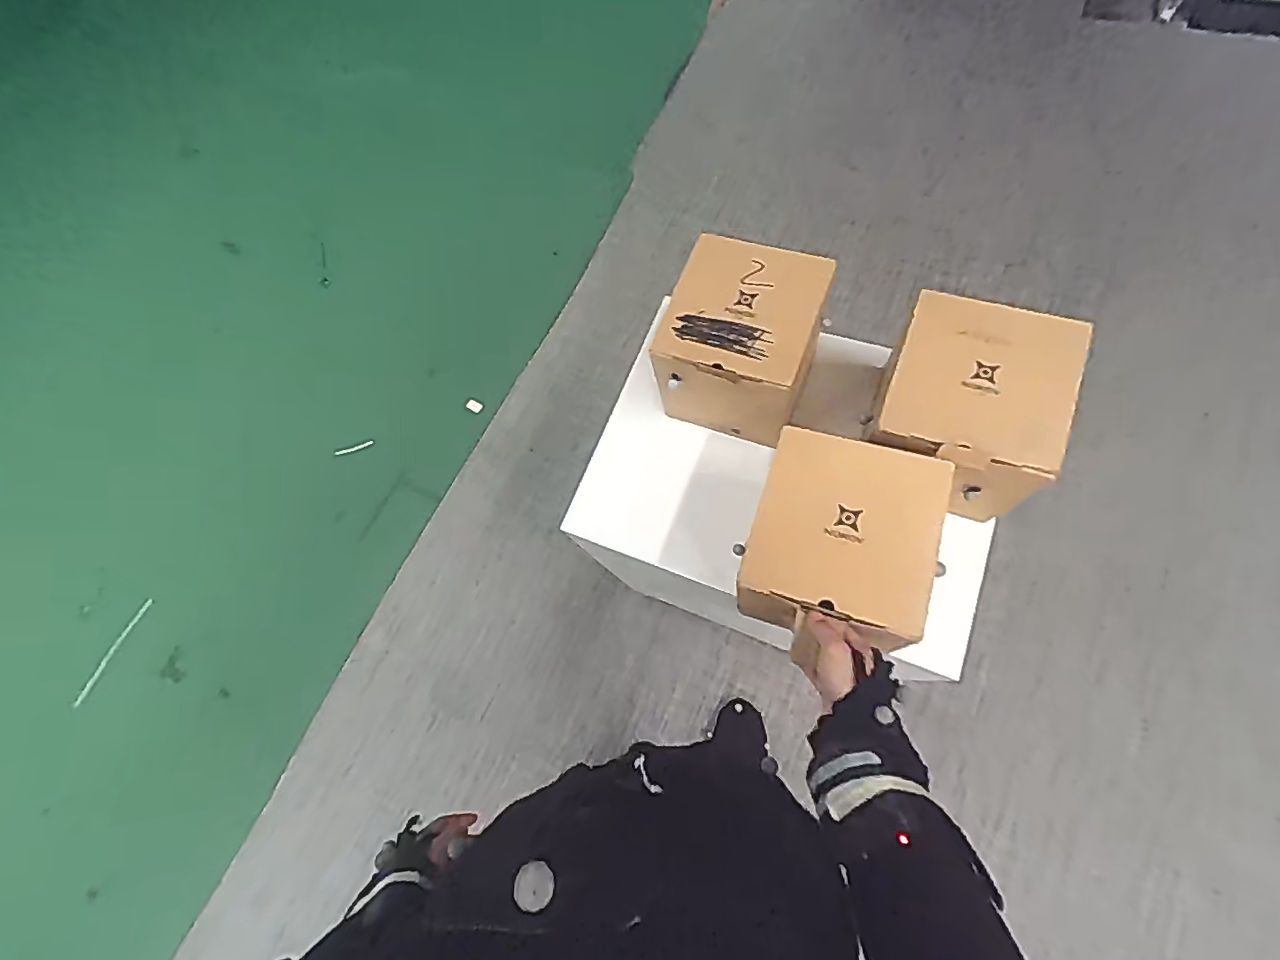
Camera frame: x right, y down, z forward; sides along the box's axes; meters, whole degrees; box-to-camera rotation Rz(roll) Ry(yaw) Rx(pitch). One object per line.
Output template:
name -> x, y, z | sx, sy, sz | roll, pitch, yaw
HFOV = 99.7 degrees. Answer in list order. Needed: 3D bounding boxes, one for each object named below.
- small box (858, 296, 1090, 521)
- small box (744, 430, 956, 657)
small box -> 0.357, -0.071, 0.615 | 0.168, 0.176, 0.179 | 19, 74, 15
small box -> 0.211, 0.075, 0.581 | 0.168, 0.176, 0.179 | 15, 71, 17
